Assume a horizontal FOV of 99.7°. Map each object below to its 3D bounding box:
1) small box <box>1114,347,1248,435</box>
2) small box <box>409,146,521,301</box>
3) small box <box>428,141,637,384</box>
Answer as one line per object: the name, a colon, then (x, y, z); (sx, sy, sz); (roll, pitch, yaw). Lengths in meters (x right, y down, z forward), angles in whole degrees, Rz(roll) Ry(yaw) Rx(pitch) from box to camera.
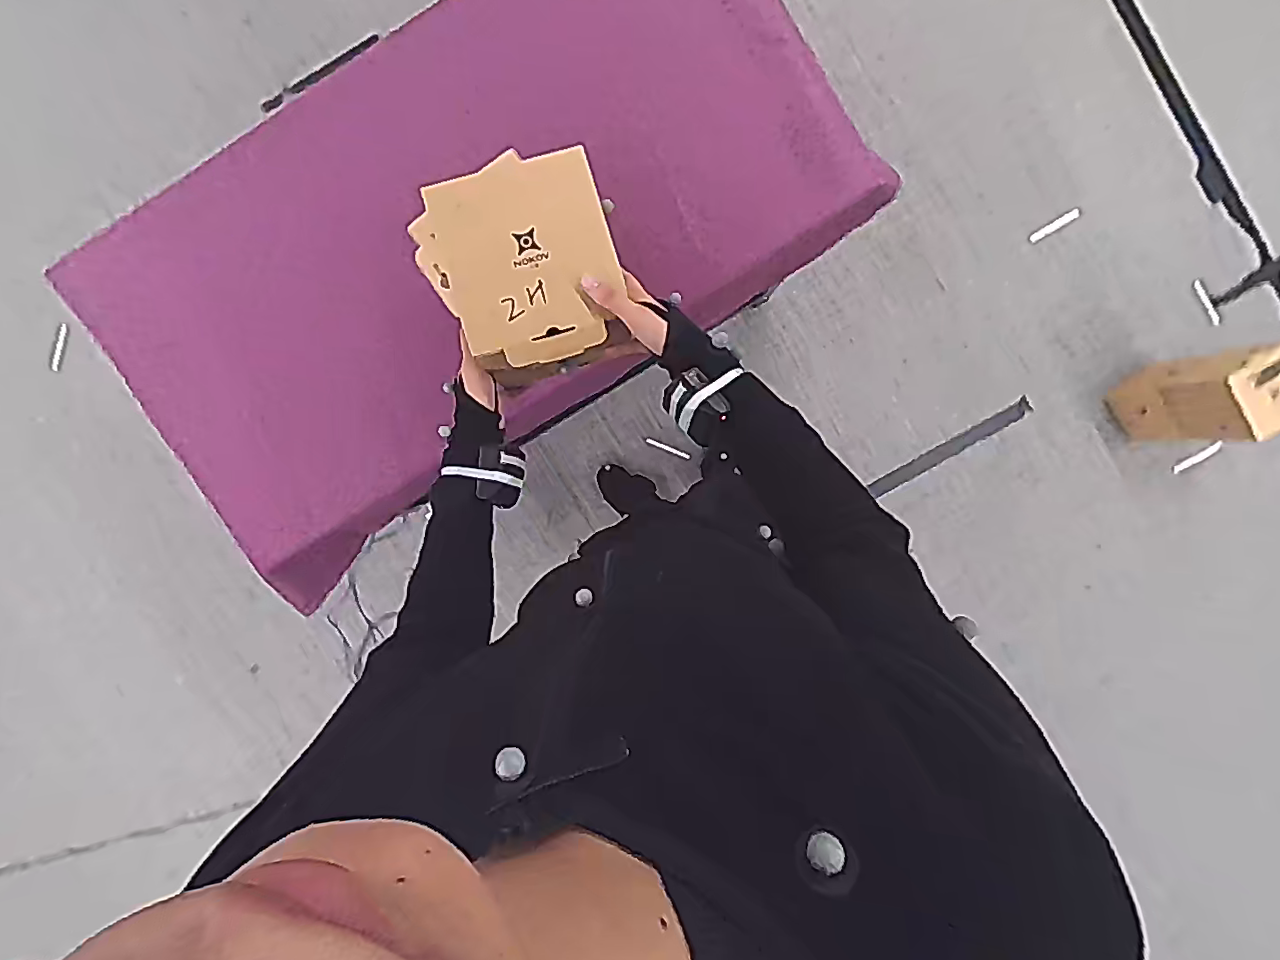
small box: (1.465, -0.236, 1.482); (0.179, 0.176, 0.168); (-35, 93, 3)
small box: (-0.187, -0.322, 0.784); (0.179, 0.176, 0.168); (-36, 93, 3)
small box: (-0.108, -0.223, 0.599); (0.168, 0.176, 0.179); (-17, 90, -3)
